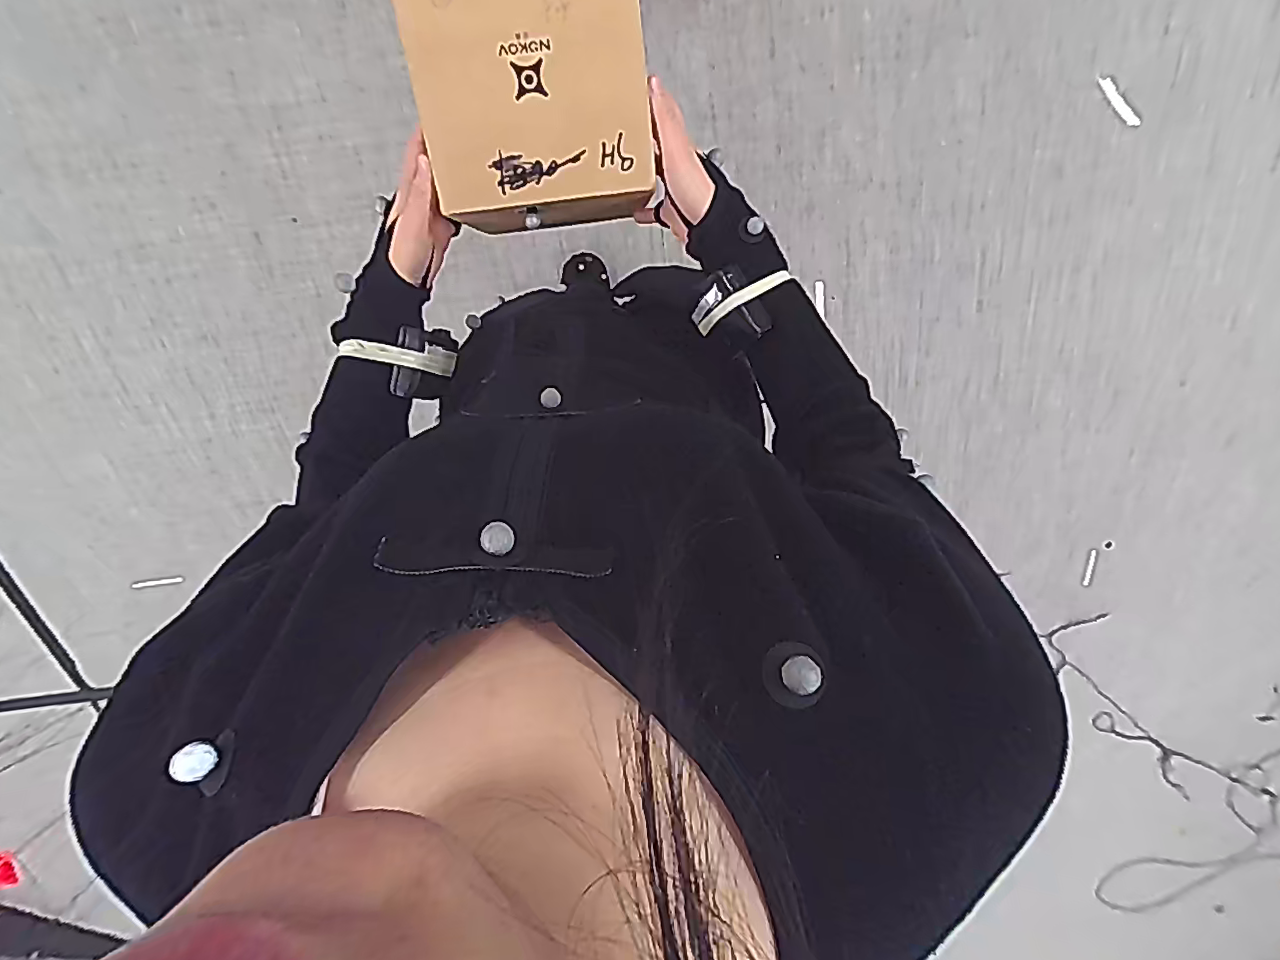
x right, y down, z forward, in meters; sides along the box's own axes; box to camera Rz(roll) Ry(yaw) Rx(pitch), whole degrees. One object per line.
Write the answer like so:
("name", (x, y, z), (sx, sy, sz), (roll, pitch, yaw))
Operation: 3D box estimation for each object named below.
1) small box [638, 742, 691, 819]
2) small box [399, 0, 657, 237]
("small box", (0.088, 1.092, 1.969), (0.168, 0.176, 0.179), (-9, 113, 1))
("small box", (-0.083, -0.314, 0.453), (0.168, 0.176, 0.179), (-8, 110, -2))
